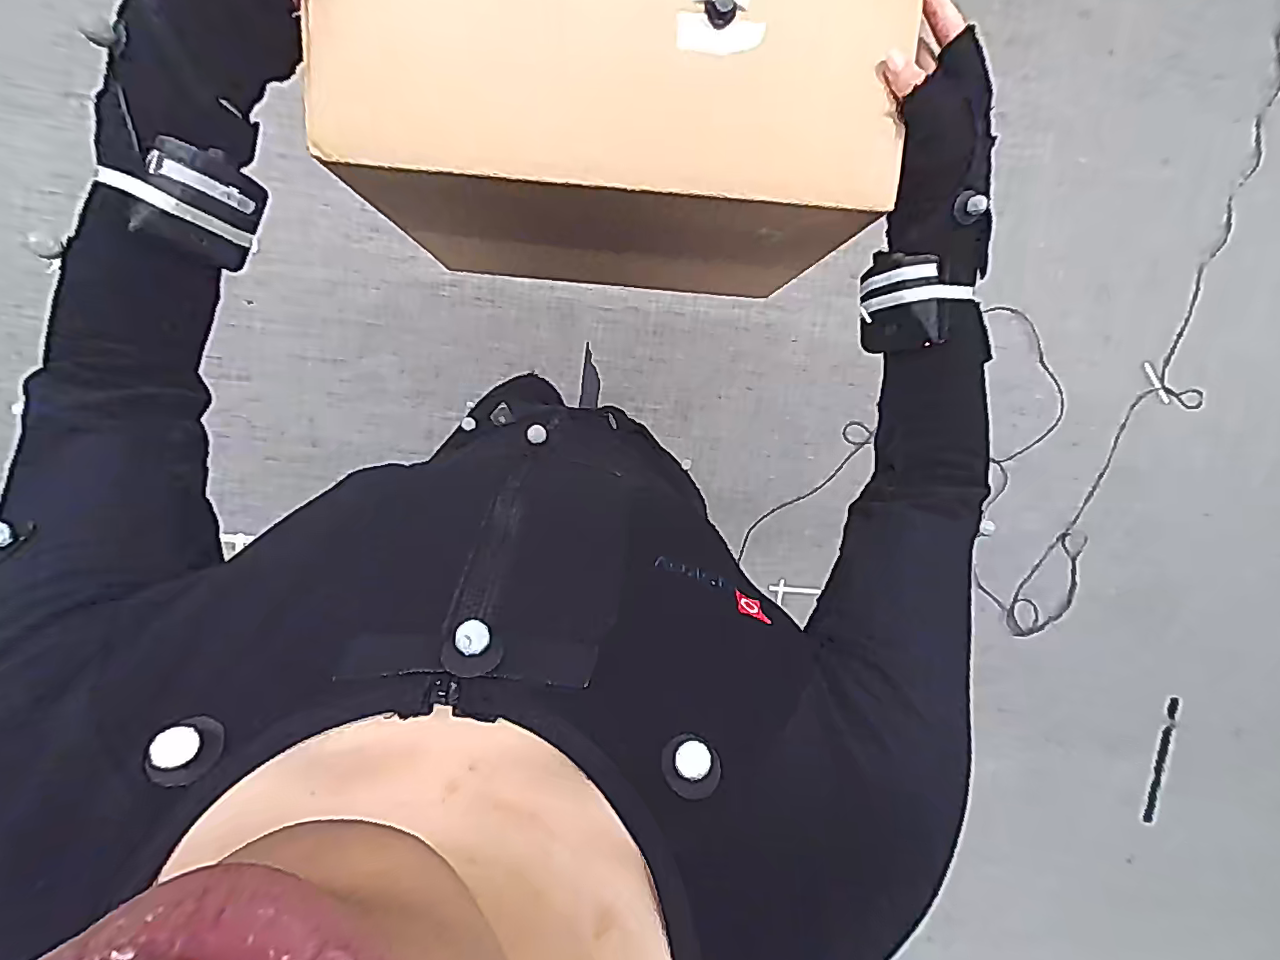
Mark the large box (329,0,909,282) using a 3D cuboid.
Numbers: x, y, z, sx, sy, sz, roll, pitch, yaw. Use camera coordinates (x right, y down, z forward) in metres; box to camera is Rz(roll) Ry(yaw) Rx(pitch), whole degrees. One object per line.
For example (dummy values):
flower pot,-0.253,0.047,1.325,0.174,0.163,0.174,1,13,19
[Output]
large box,-0.017,-0.390,0.512,0.408,0.320,0.320,3,98,-4
